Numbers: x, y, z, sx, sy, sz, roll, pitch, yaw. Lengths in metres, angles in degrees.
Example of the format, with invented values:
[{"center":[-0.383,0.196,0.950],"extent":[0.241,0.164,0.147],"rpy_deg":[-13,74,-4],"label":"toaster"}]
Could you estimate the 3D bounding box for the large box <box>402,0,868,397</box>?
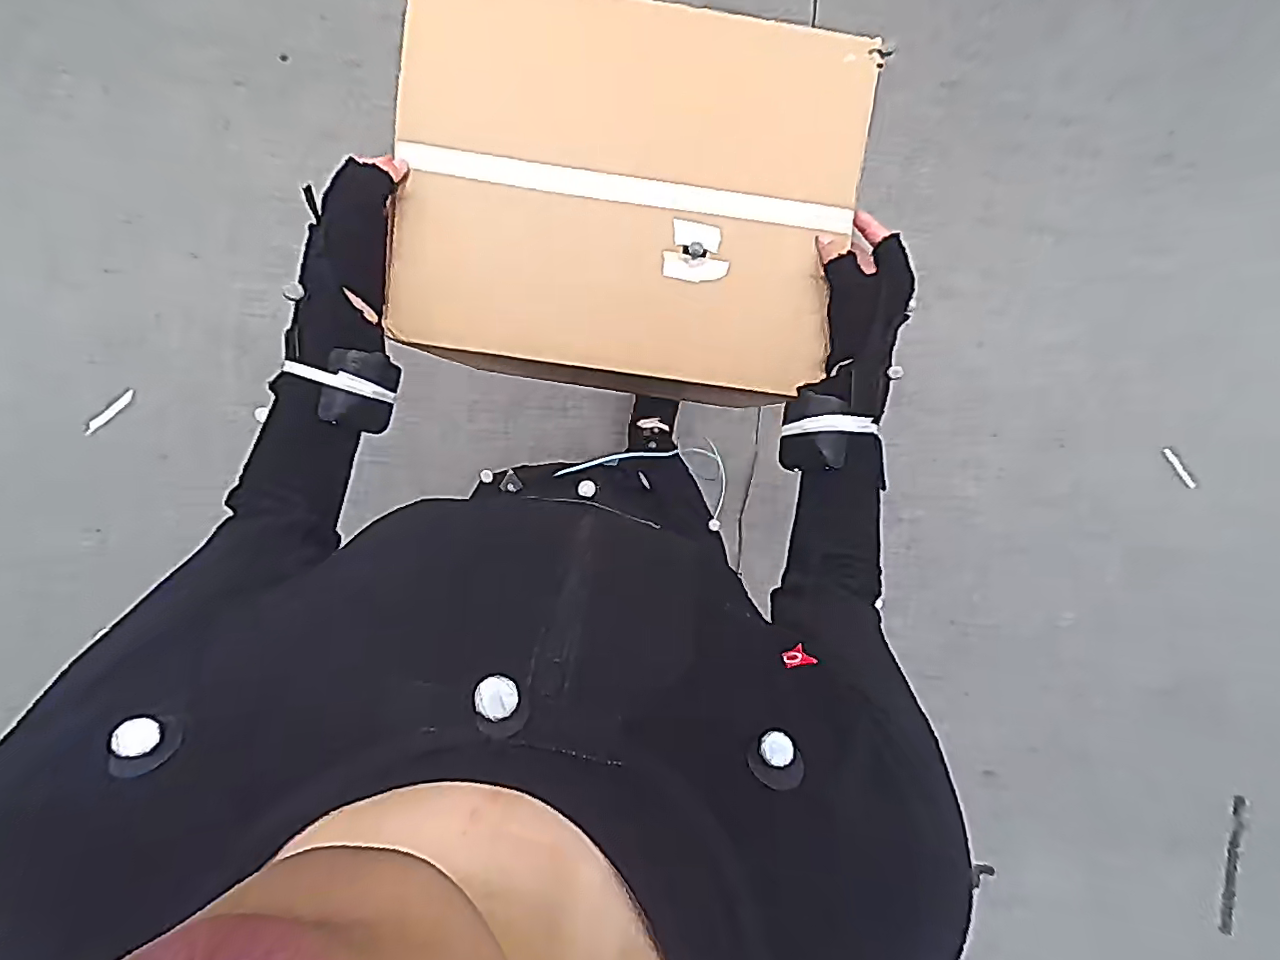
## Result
[{"center":[-0.015,-0.282,0.641],"extent":[0.408,0.320,0.320],"rpy_deg":[8,97,-3],"label":"large box"}]
